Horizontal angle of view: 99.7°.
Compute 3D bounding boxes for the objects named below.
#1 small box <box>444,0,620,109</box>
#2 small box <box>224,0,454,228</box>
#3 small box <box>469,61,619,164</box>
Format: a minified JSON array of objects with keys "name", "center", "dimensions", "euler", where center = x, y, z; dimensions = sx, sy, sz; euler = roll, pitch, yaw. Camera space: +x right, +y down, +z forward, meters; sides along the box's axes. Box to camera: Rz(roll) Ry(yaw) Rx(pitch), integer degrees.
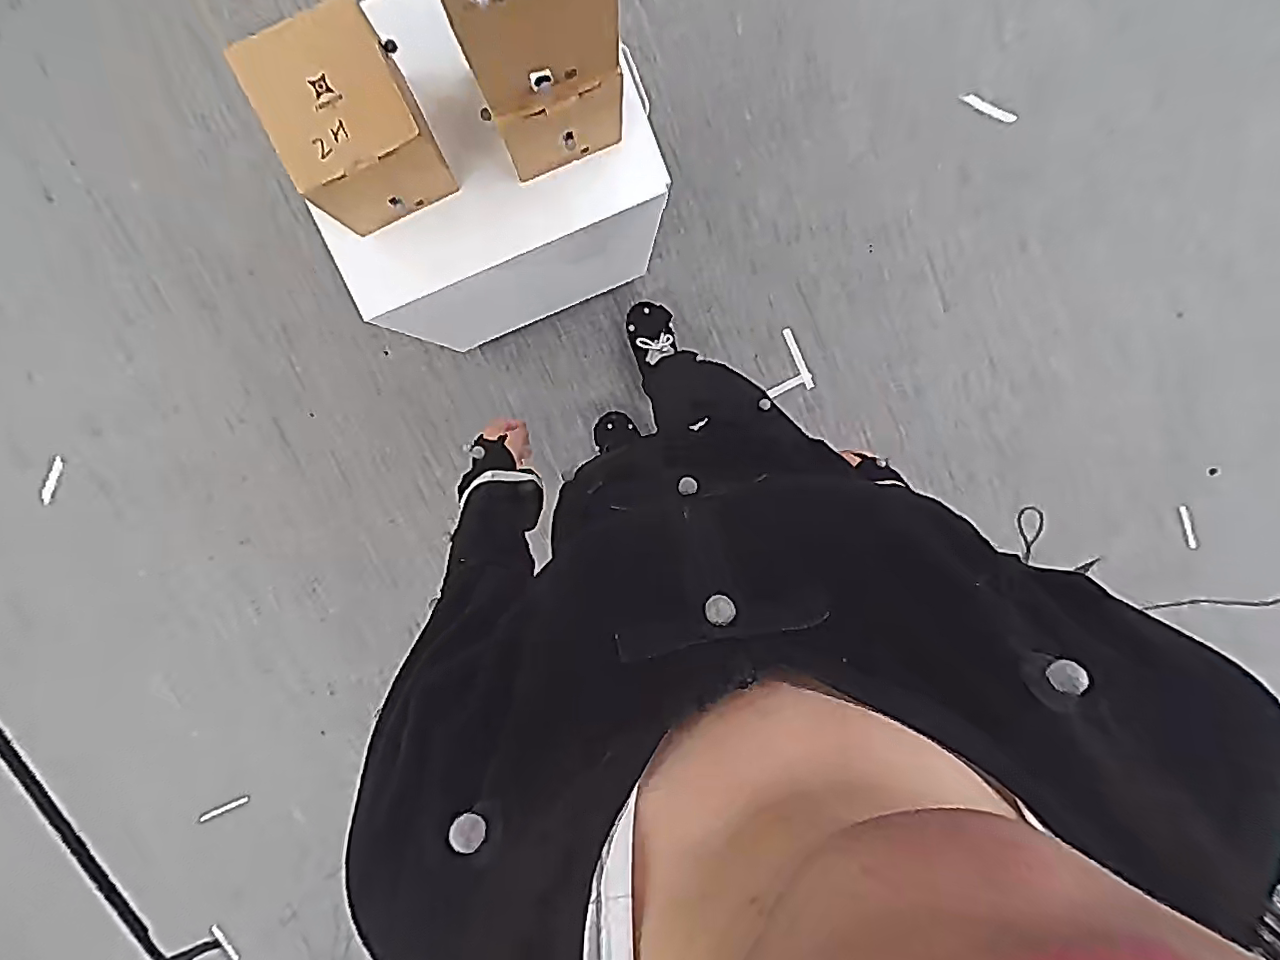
[{"name":"small box","center":[-0.127,-0.531,0.548],"dimensions":[0.168,0.176,0.179],"euler":[-22,99,2]},{"name":"small box","center":[-0.373,-0.467,0.708],"dimensions":[0.168,0.176,0.179],"euler":[-25,99,1]},{"name":"small box","center":[-0.130,-0.548,0.711],"dimensions":[0.168,0.176,0.179],"euler":[-21,101,2]}]
